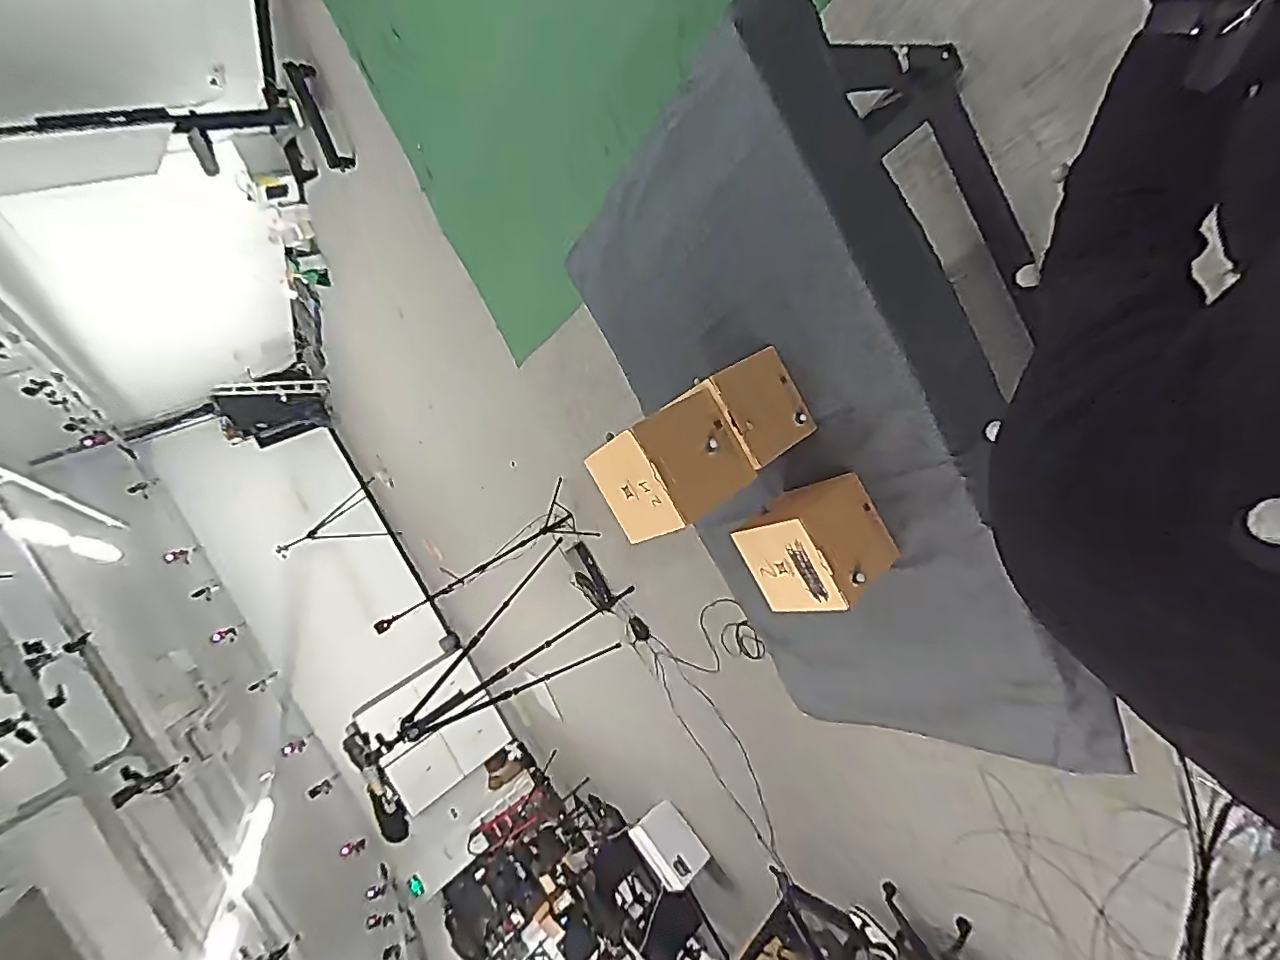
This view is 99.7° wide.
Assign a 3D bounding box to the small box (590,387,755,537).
[{"bbox_3d":[0.052,-0.027,0.885,0.168,0.176,0.179,60,148,-1],"label":"small box"}]

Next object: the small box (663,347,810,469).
[{"bbox_3d":[0.173,-0.112,0.958,0.168,0.176,0.179,61,149,-2],"label":"small box"}]
